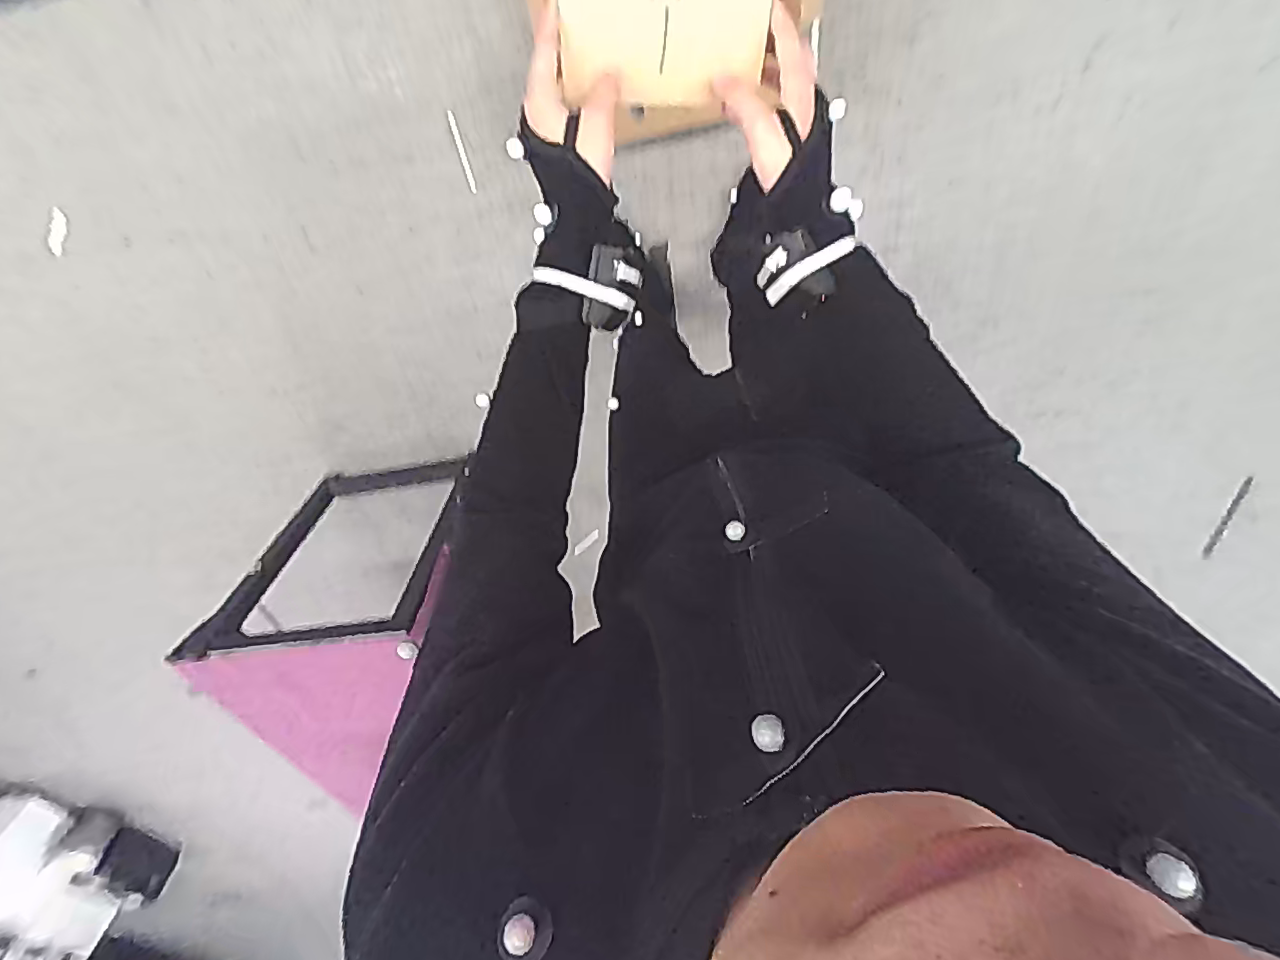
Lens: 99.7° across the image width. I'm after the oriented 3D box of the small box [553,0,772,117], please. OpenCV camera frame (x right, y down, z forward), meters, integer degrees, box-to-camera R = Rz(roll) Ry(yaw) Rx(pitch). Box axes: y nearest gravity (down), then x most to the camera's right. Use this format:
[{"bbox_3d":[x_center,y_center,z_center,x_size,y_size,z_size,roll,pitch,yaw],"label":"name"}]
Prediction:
[{"bbox_3d":[0.010,-0.419,0.461,0.168,0.176,0.179,-4,127,-7],"label":"small box"}]
